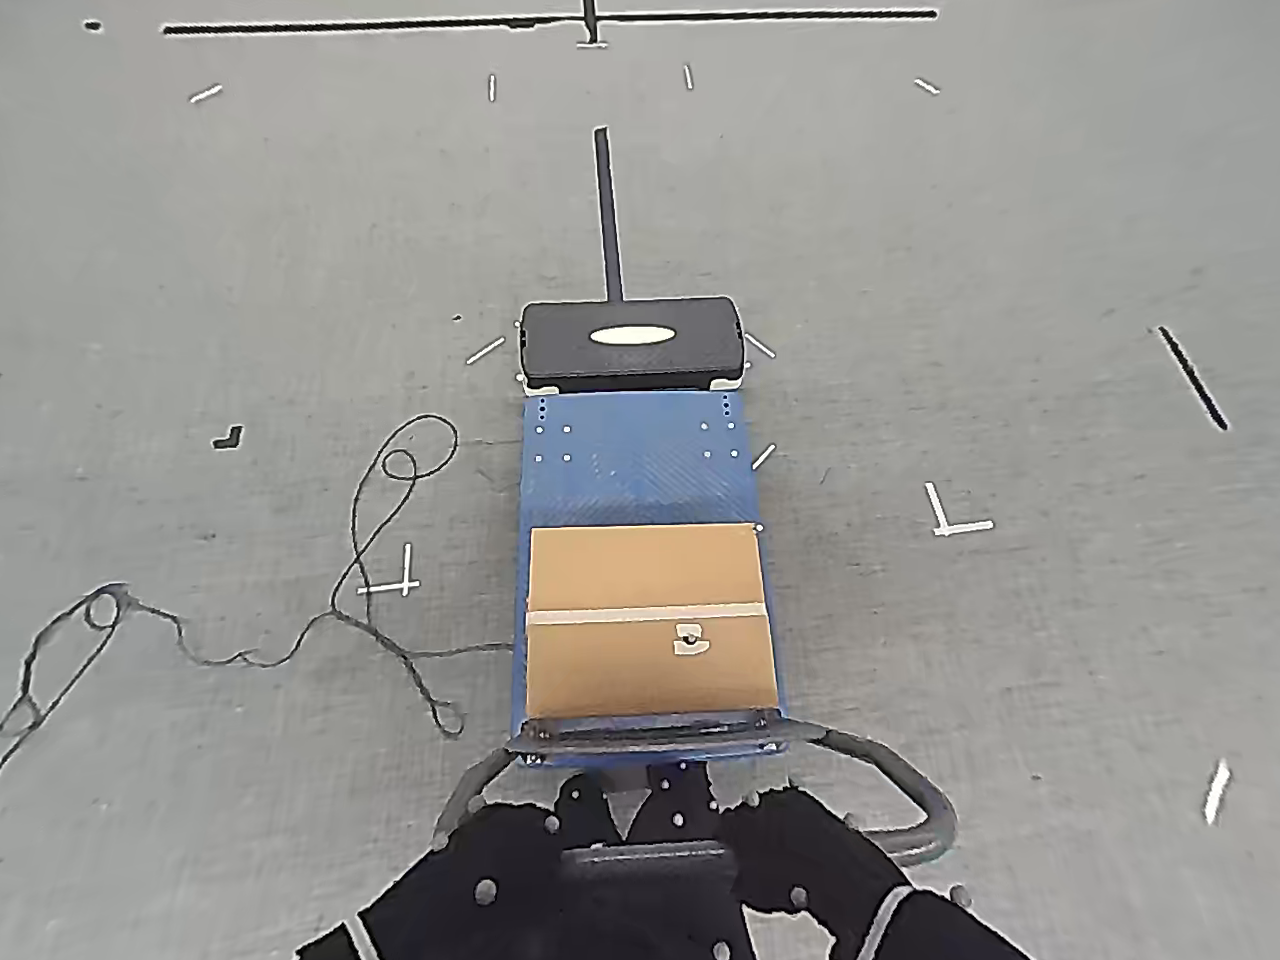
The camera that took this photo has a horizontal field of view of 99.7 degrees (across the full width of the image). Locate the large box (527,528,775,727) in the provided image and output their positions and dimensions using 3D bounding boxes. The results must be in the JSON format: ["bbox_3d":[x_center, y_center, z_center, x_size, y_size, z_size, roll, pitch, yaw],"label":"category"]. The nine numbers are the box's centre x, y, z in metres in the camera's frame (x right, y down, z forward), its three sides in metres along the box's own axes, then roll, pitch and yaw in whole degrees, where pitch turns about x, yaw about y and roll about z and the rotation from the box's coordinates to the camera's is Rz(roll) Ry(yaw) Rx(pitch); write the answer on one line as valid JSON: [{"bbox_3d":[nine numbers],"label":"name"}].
[{"bbox_3d":[0.003,0.292,1.043,0.408,0.320,0.320,-1,68,-4],"label":"large box"}]
